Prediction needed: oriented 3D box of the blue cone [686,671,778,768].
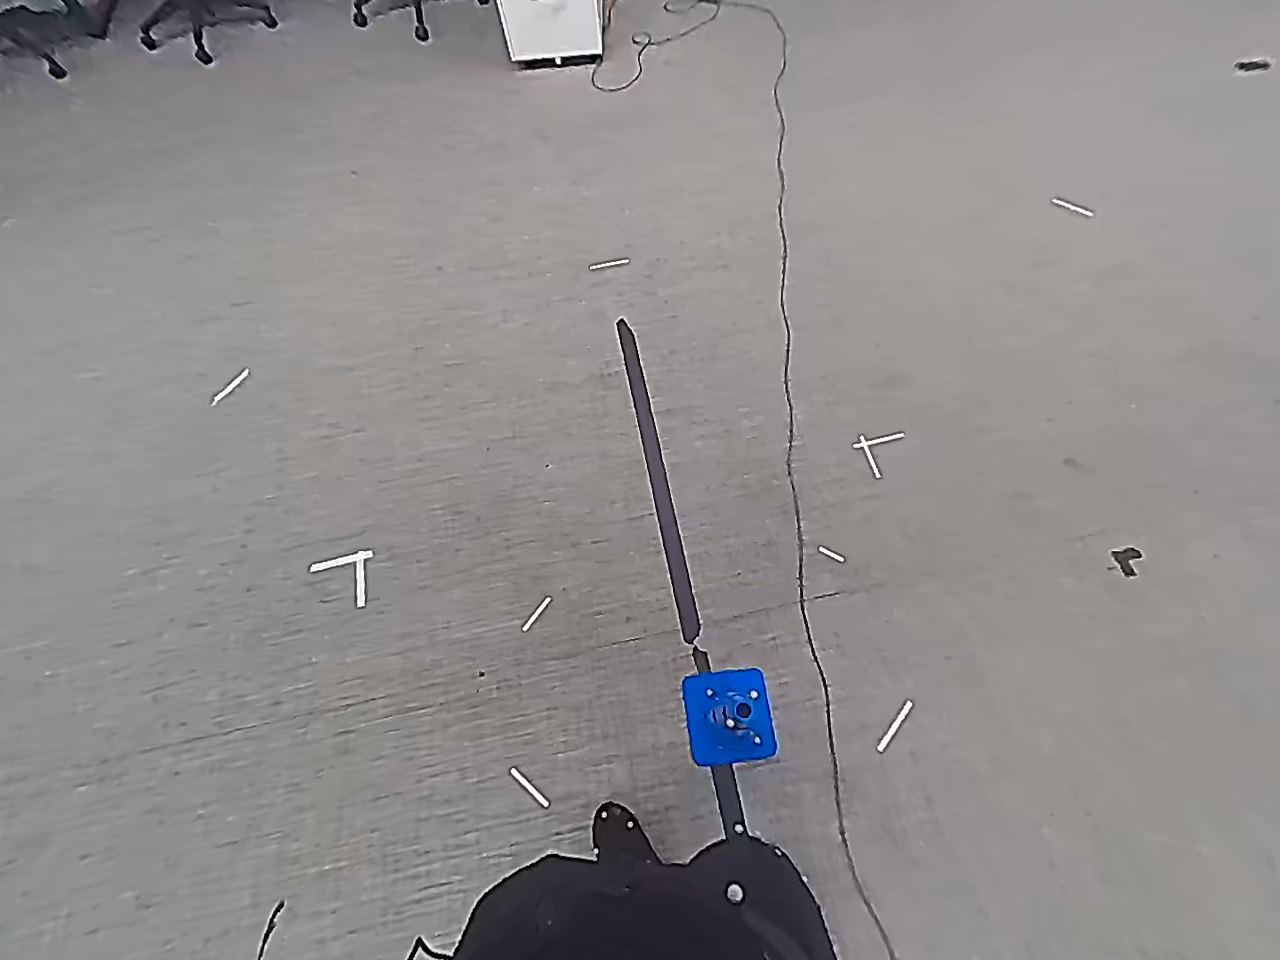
[{"bbox_3d":[0.201,0.482,1.109,0.193,0.380,0.192,-9,65,-1],"label":"blue cone"}]
